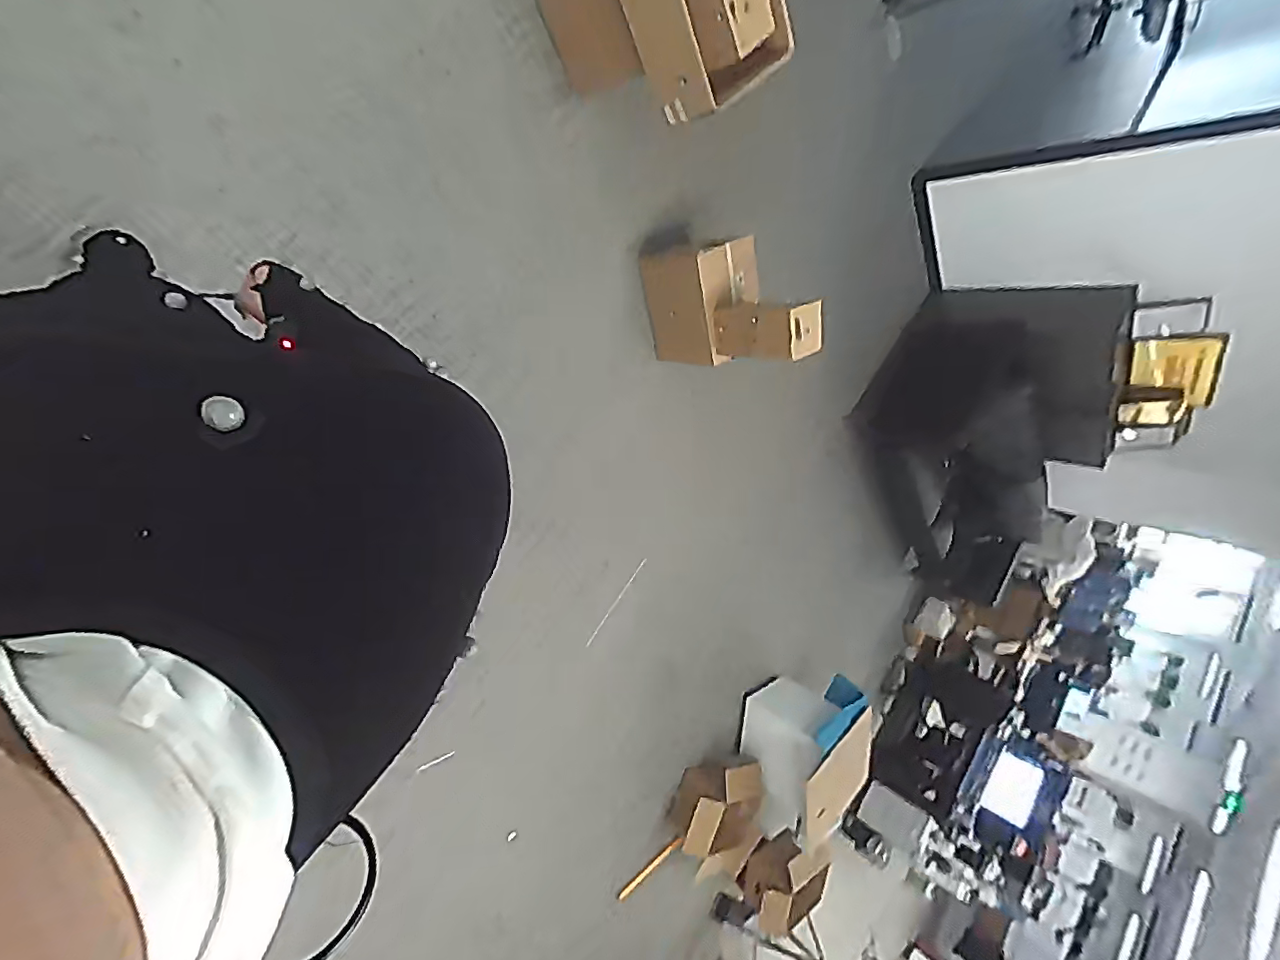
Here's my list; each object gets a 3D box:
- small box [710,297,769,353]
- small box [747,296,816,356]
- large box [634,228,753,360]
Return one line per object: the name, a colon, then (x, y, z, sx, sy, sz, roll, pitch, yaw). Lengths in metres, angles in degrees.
small box: (0.374, -0.564, 1.953, 0.179, 0.176, 0.168, -26, 120, -33)
small box: (0.476, -0.524, 1.831, 0.179, 0.176, 0.168, -27, 121, -34)
large box: (0.221, -0.718, 2.102, 0.320, 0.320, 0.408, -34, 125, -31)
